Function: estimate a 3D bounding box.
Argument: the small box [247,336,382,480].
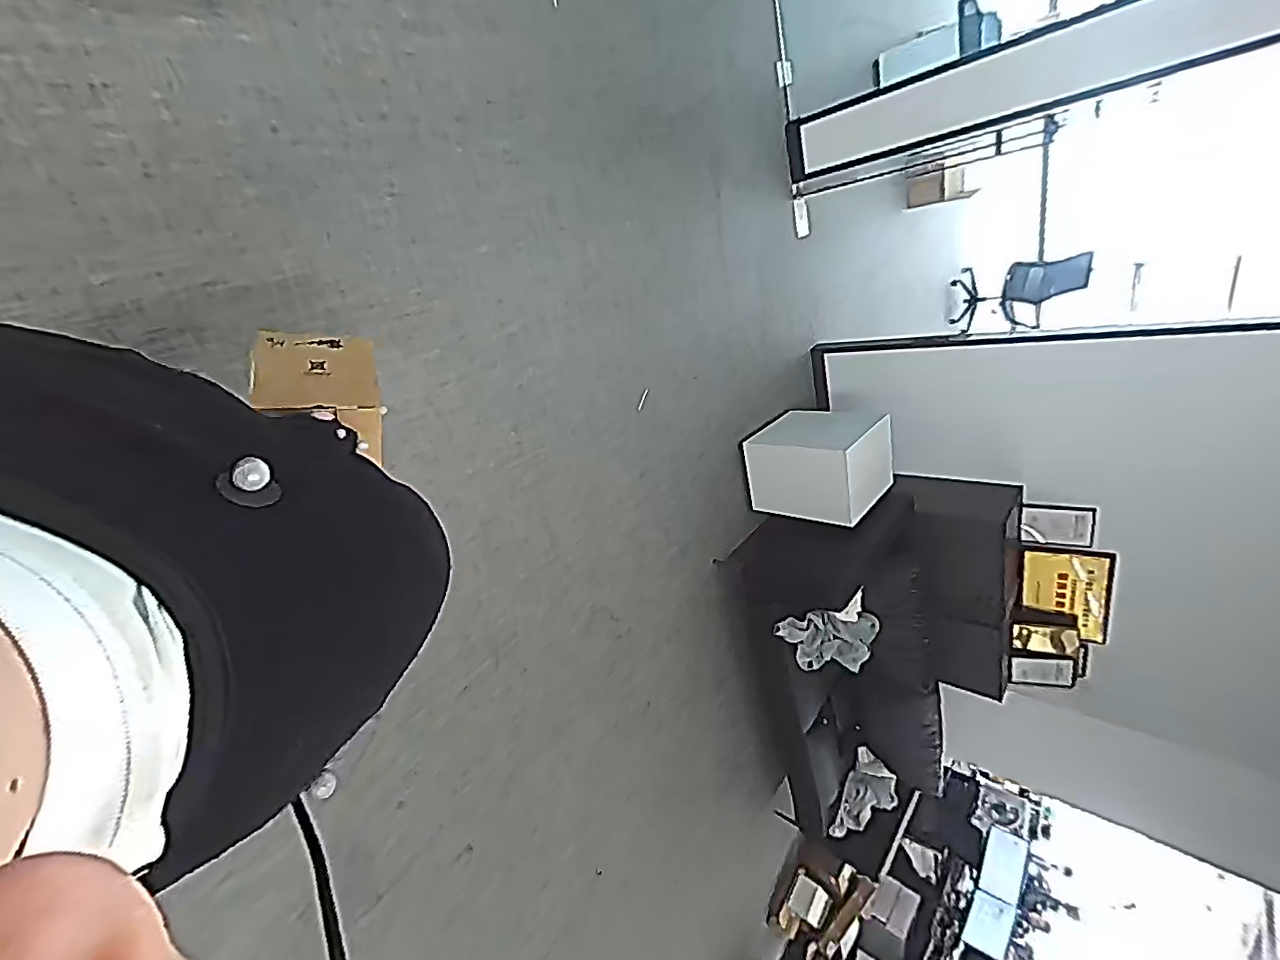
[{"bbox_3d":[-0.522,-0.113,0.879,0.168,0.179,0.176,-8,143,-29],"label":"small box"}]
